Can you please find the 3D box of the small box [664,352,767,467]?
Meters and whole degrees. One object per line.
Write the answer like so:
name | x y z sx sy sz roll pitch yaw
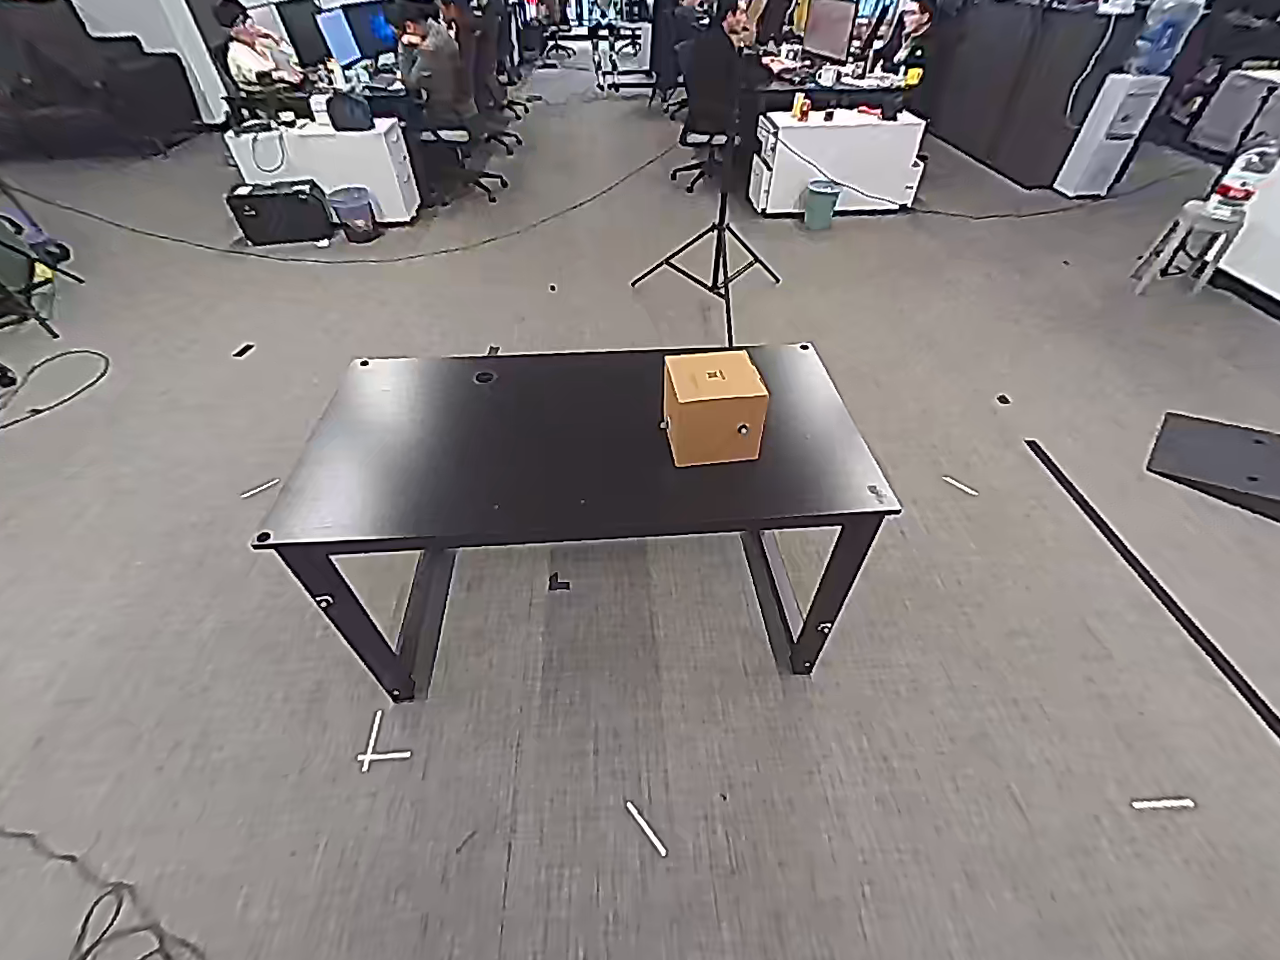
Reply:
small box | 0.147 -0.145 1.127 0.179 0.176 0.168 -7 44 -5
